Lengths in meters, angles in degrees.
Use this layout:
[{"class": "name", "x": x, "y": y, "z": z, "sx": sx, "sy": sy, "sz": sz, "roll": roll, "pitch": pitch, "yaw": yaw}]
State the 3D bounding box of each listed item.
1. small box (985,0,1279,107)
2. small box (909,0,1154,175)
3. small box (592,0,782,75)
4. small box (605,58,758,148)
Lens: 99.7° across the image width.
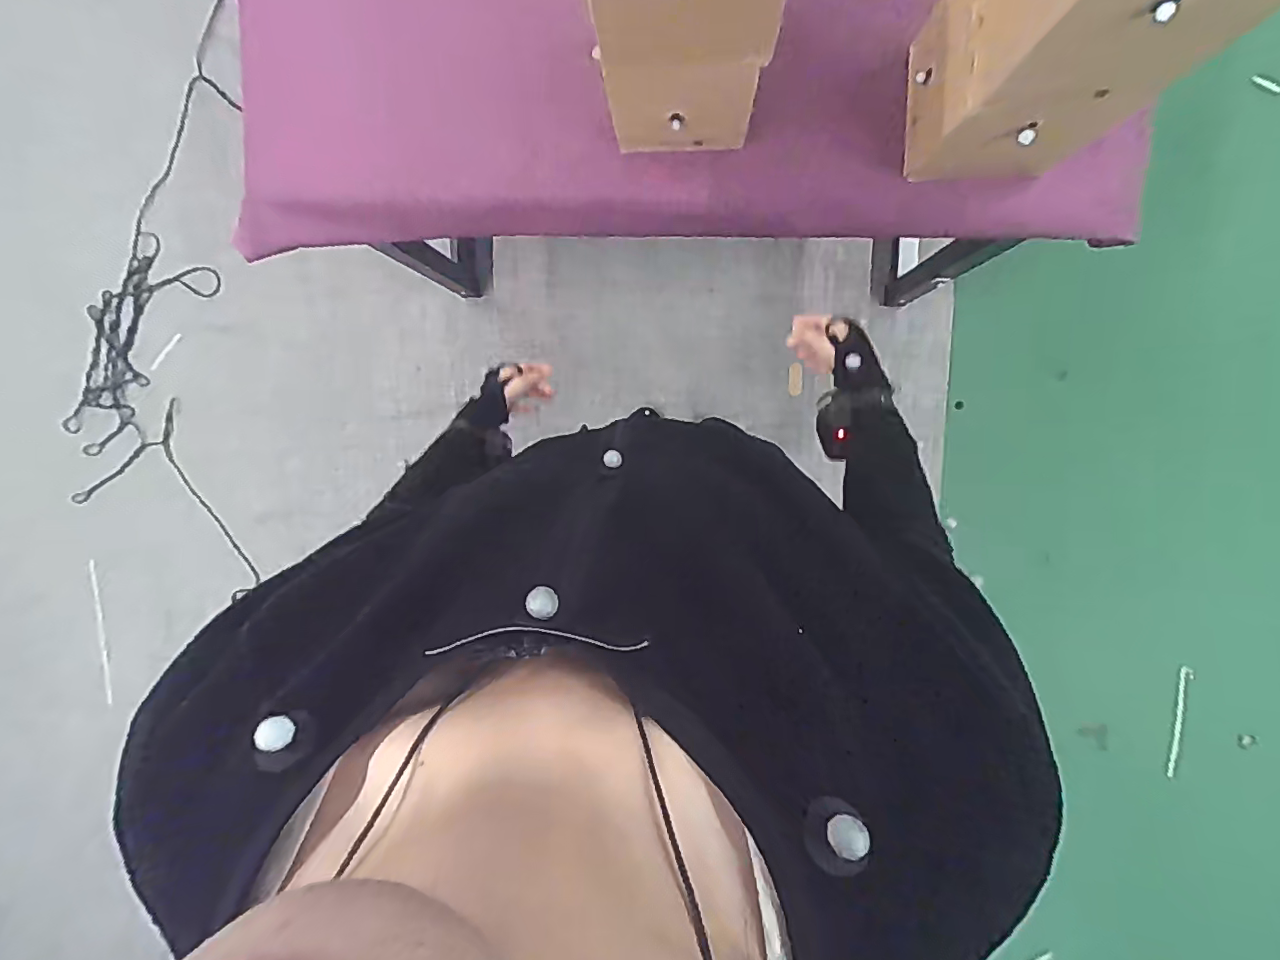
[{"class": "small box", "x": 0.414, "y": -0.450, "z": 0.445, "sx": 0.168, "sy": 0.176, "sz": 0.179, "roll": 1, "pitch": 96, "yaw": 8}, {"class": "small box", "x": 0.429, "y": -0.467, "z": 0.608, "sx": 0.179, "sy": 0.176, "sz": 0.168, "roll": 0, "pitch": 97, "yaw": 7}, {"class": "small box", "x": 0.042, "y": -0.497, "z": 0.479, "sx": 0.179, "sy": 0.176, "sz": 0.168, "roll": 1, "pitch": 97, "yaw": 5}, {"class": "small box", "x": 0.054, "y": -0.519, "z": 0.640, "sx": 0.168, "sy": 0.176, "sz": 0.179, "roll": 1, "pitch": 95, "yaw": 5}]
